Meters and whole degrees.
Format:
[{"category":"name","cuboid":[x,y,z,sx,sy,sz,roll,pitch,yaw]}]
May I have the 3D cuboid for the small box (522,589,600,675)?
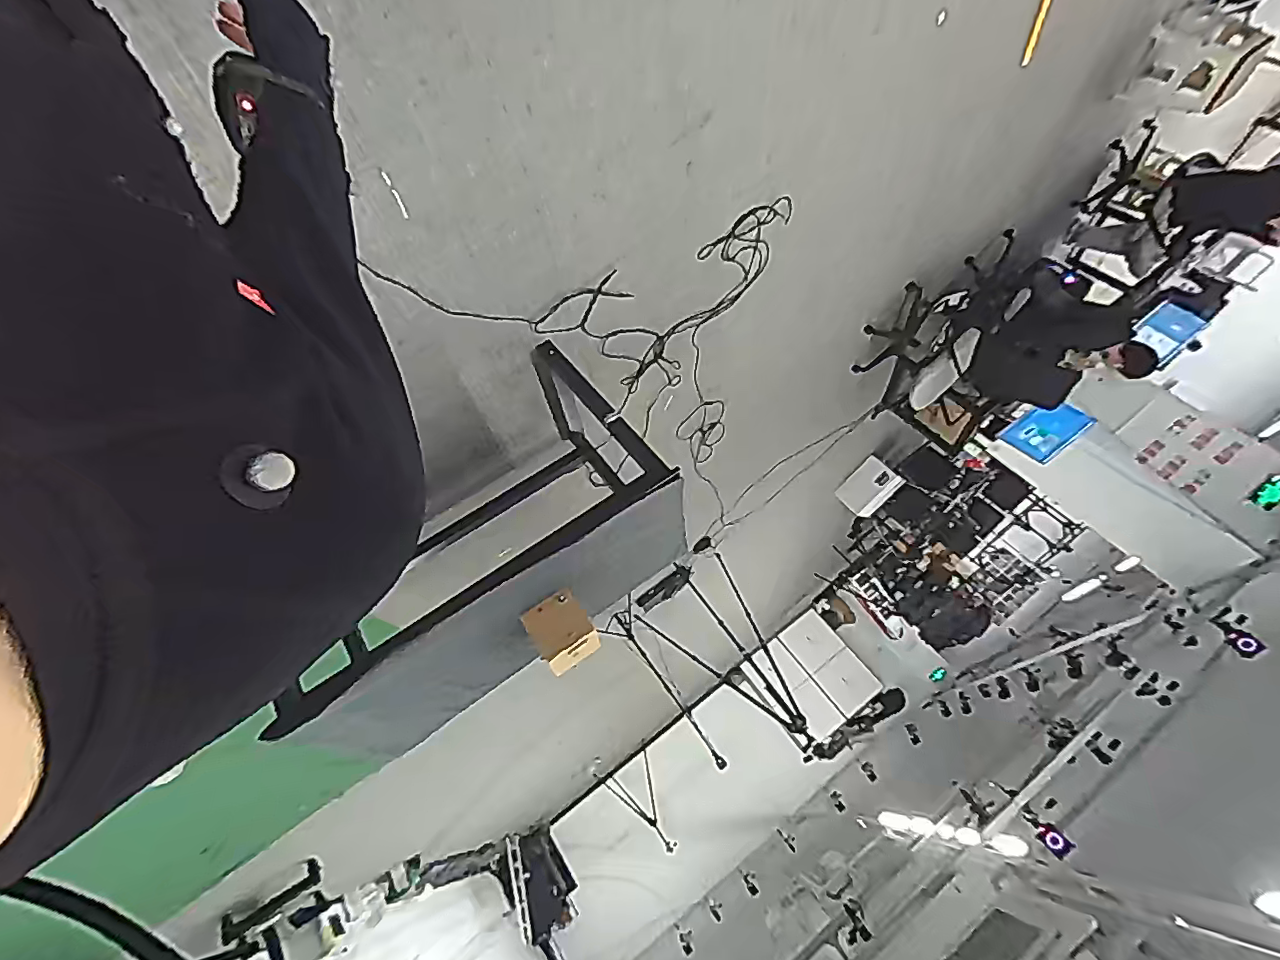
[{"category":"small box","cuboid":[-0.240,0.458,1.650,0.168,0.176,0.179,-31,151,-16]}]
